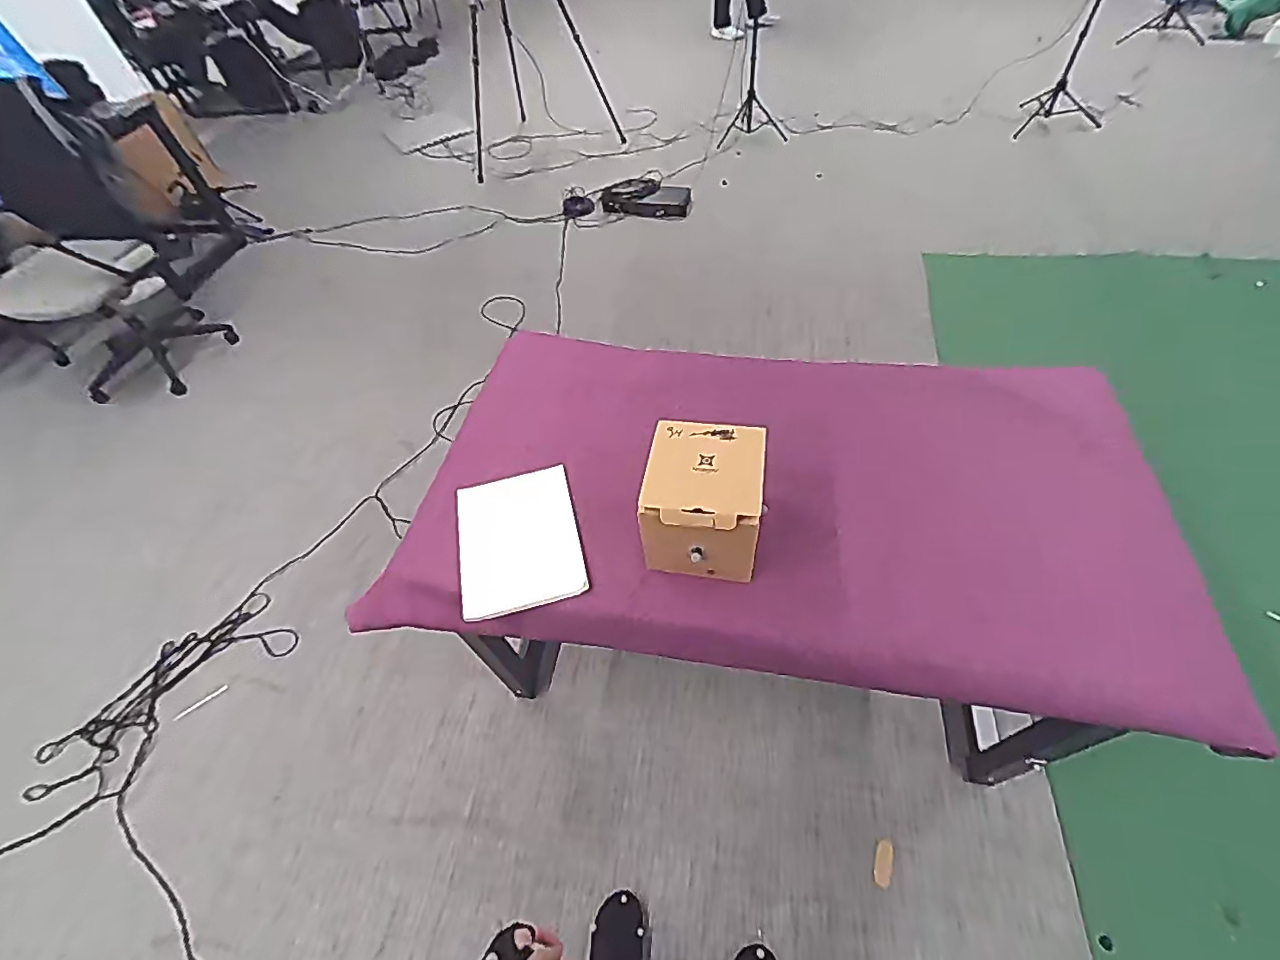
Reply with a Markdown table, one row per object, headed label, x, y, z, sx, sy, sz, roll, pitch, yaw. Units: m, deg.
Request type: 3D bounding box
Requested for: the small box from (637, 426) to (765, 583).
| label | x | y | z | sx | sy | sz | roll | pitch | yaw |
| --- | --- | --- | --- | --- | --- | --- | --- | --- | --- |
| small box | 0.099 | 0.041 | 0.837 | 0.168 | 0.176 | 0.179 | 6 | 53 | 11 |
